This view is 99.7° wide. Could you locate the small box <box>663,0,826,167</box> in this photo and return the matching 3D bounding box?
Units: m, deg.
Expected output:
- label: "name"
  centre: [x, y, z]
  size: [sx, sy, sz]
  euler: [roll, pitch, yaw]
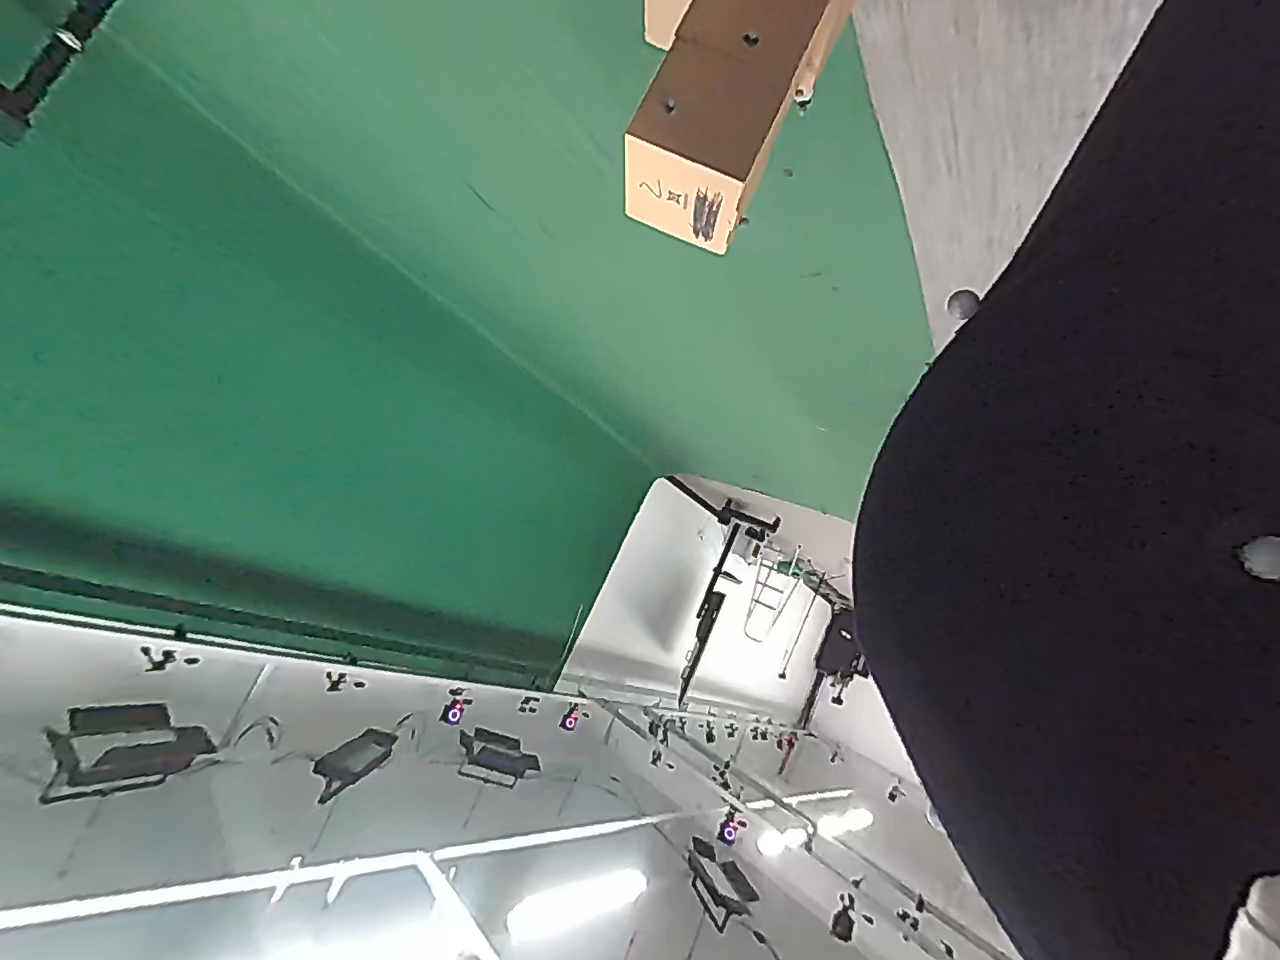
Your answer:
- label: "small box"
  centre: [0.154, -0.631, 0.820]
  size: [0.179, 0.176, 0.168]
  euler: [25, 170, 1]
